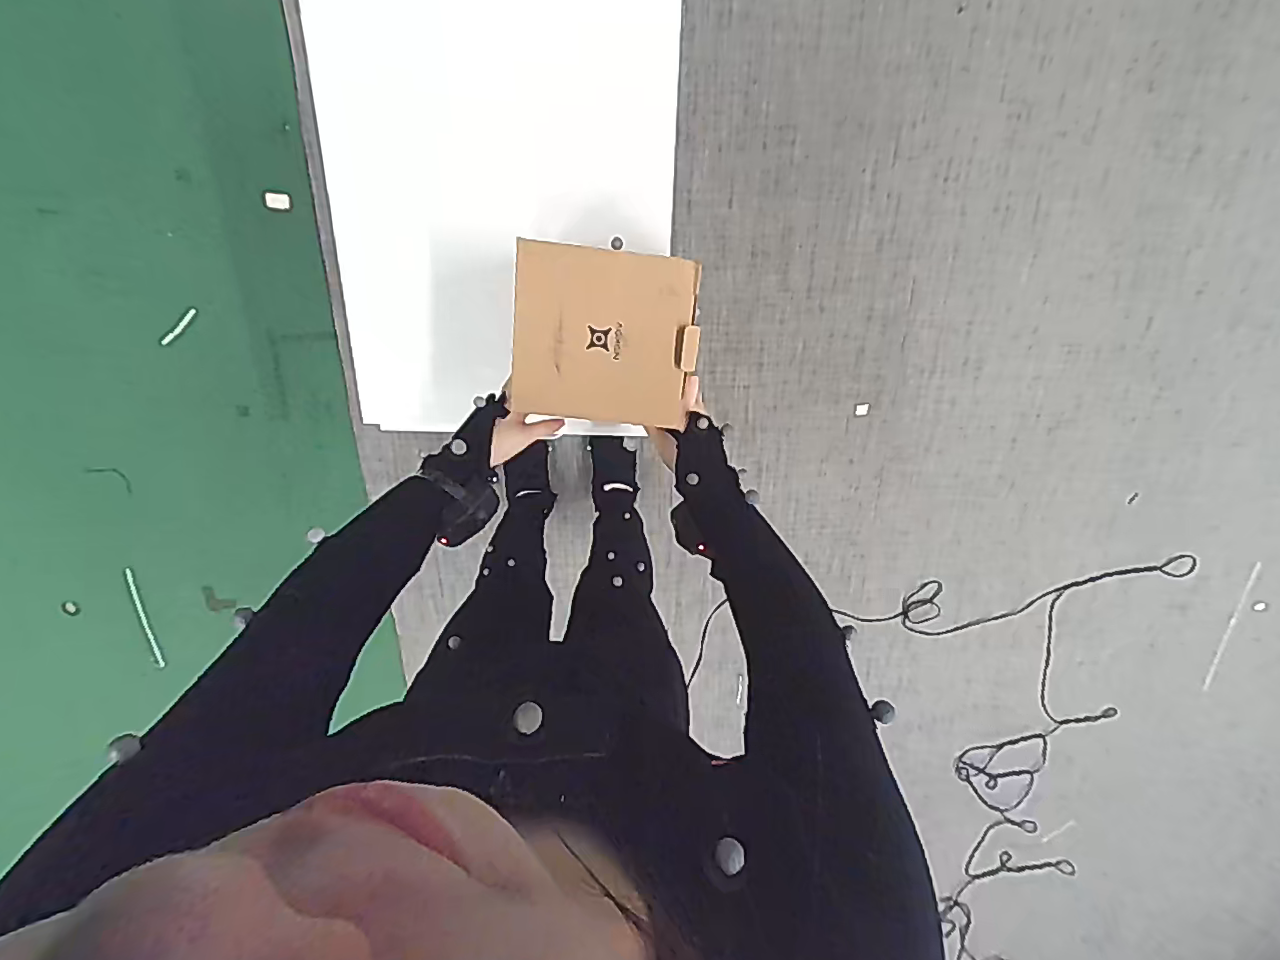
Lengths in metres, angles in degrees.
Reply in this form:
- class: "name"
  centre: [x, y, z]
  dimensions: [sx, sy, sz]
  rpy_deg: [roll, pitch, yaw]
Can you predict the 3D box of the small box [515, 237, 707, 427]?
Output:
- class: "small box"
  centre: [-0.034, -0.165, 0.604]
  dimensions: [0.179, 0.176, 0.168]
  rpy_deg: [6, 107, -3]
